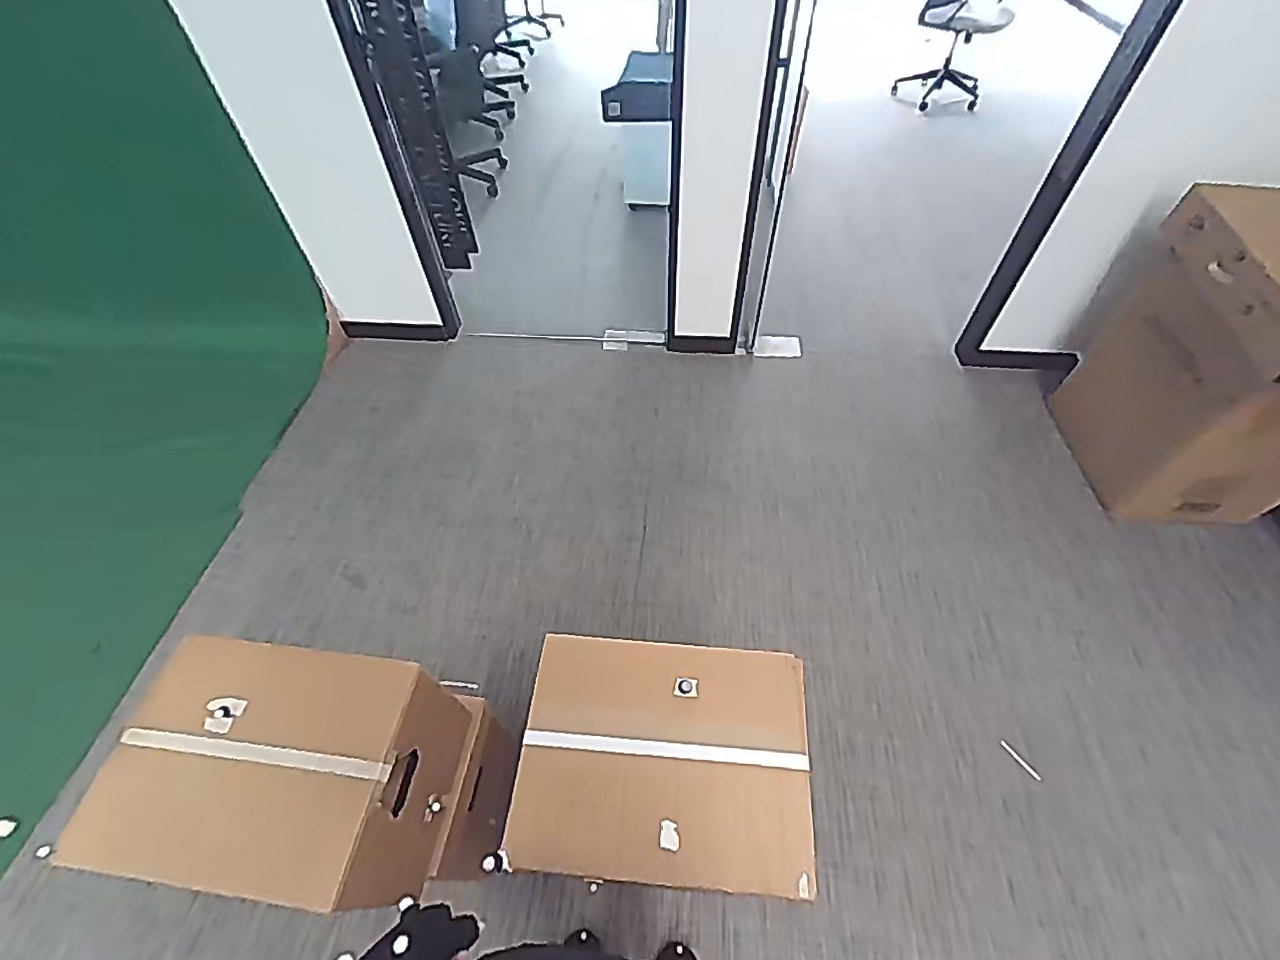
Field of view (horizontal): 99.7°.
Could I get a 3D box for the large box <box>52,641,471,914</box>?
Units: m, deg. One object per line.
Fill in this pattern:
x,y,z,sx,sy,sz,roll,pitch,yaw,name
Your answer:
-0.550,0.484,0.894,0.408,0.320,0.320,5,54,6,large box
